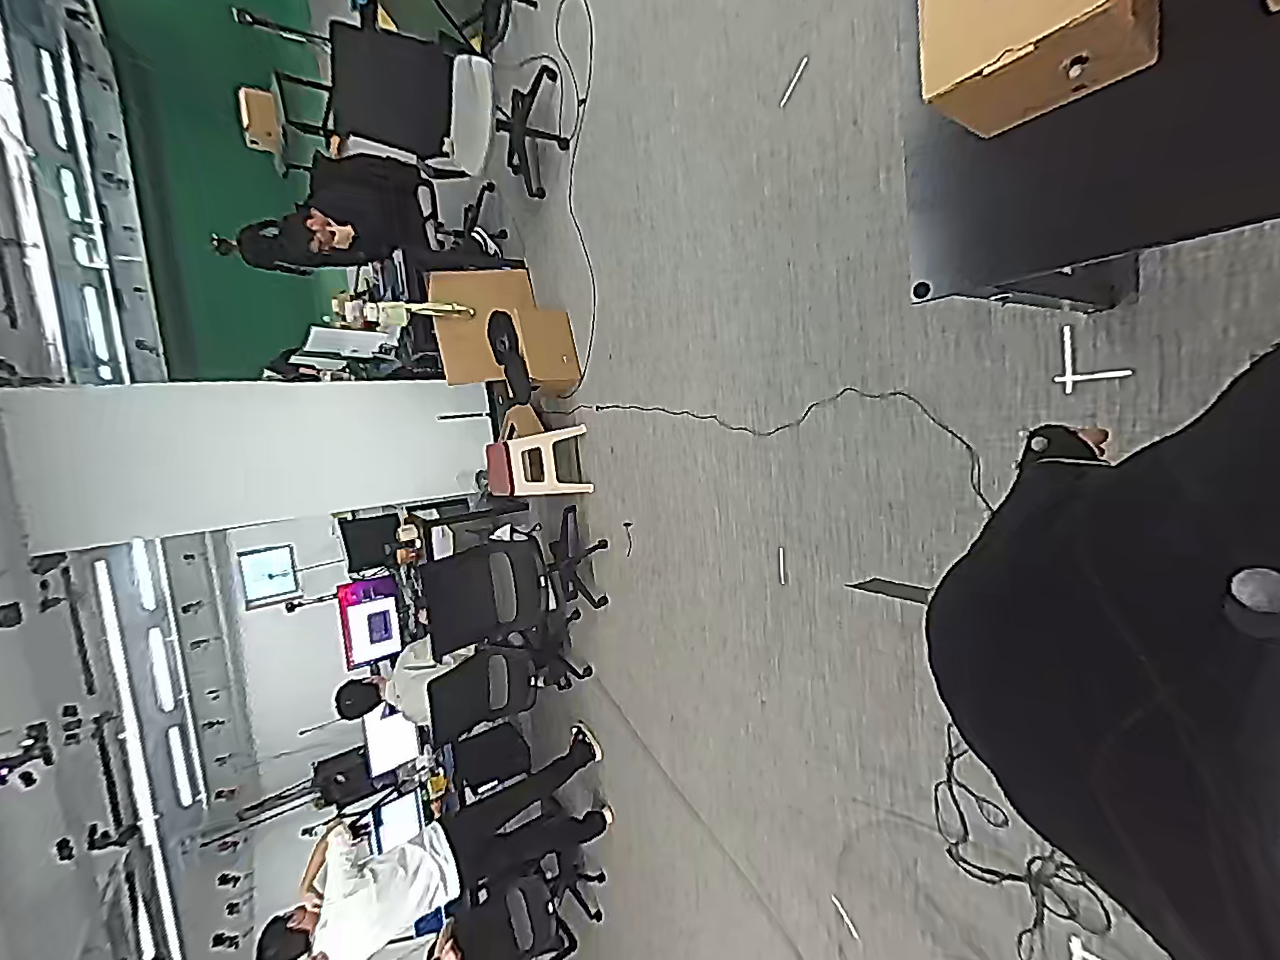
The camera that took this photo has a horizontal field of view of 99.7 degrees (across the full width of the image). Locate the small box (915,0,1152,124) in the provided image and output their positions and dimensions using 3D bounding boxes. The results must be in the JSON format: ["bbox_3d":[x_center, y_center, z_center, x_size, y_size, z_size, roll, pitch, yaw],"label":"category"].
[{"bbox_3d":[0.416,-0.513,0.574,0.168,0.176,0.179,1,97,53],"label":"small box"}]
